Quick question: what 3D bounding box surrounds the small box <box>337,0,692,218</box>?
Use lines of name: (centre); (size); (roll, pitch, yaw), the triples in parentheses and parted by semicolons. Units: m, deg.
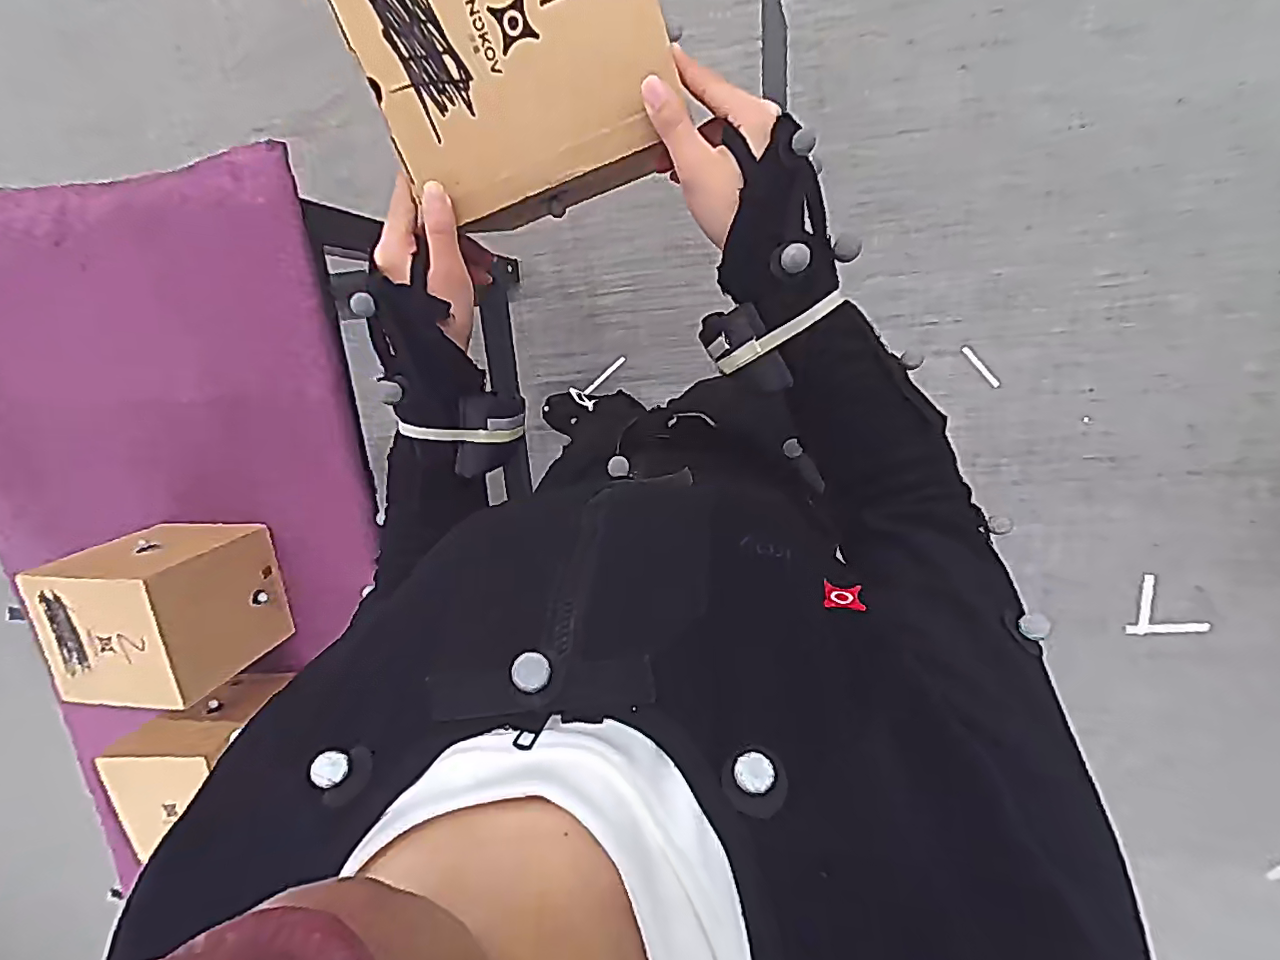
small box: (-0.068, -0.291, 0.368); (0.179, 0.176, 0.168); (-16, 113, 12)

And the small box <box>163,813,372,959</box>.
small box: (-0.535, 0.631, 0.809); (0.179, 0.176, 0.168); (-9, 104, 12)

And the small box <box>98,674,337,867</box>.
small box: (-0.559, 0.385, 0.742); (0.168, 0.176, 0.179); (-6, 104, 11)
